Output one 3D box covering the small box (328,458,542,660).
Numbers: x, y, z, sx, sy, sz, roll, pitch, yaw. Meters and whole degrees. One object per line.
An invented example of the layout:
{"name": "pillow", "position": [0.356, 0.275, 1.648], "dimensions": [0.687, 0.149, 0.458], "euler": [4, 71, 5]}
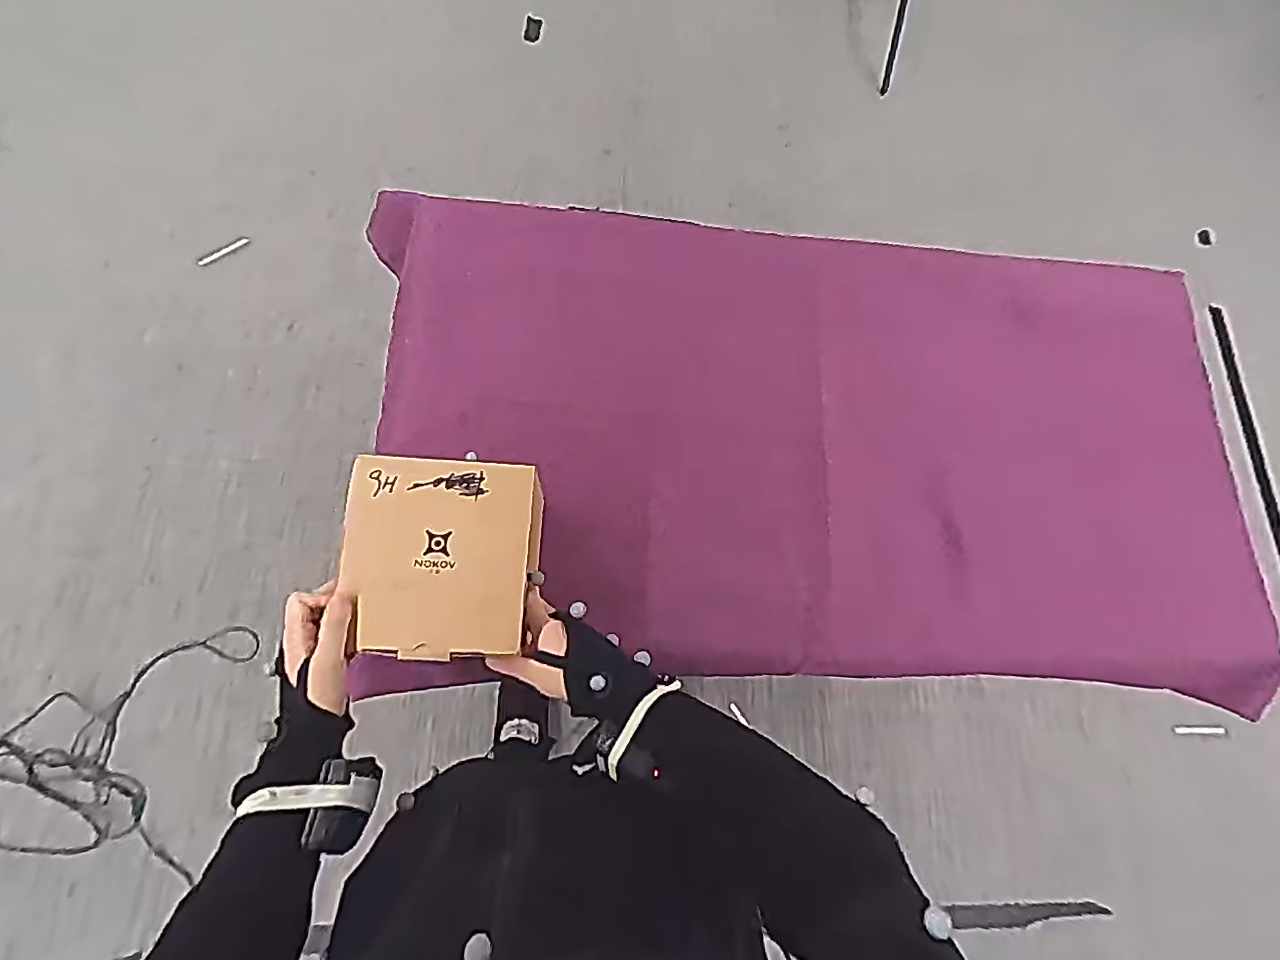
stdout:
{"name": "small box", "position": [-0.194, 0.086, 0.567], "dimensions": [0.168, 0.176, 0.179], "euler": [4, 78, -7]}
